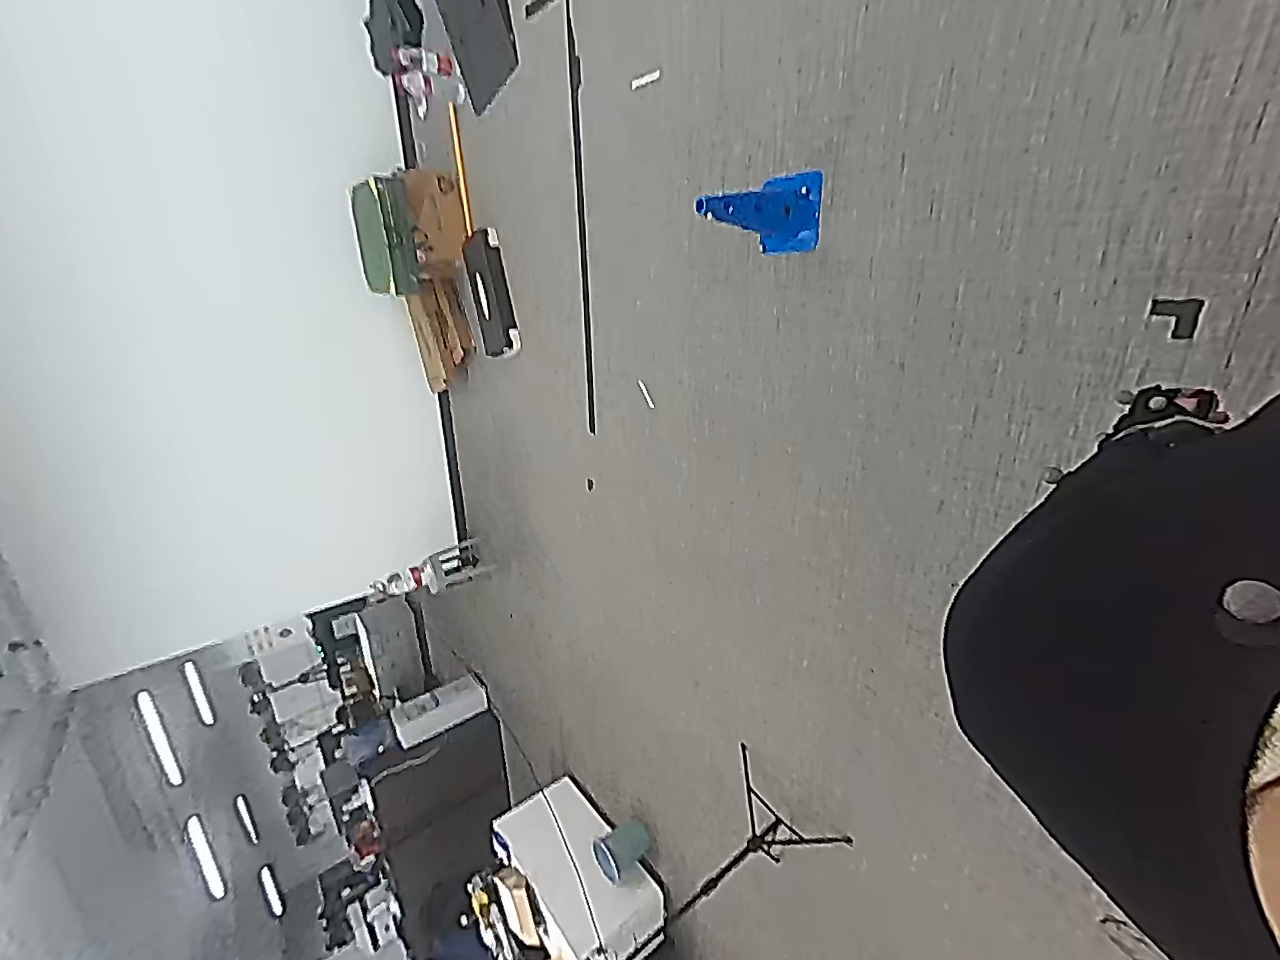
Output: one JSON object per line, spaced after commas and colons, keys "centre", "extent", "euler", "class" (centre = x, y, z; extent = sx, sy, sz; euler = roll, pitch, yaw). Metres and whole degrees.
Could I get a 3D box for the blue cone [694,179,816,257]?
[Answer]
{"centre": [0.288, -0.696, 1.434], "extent": [0.193, 0.380, 0.192], "euler": [24, 122, 47], "class": "blue cone"}
